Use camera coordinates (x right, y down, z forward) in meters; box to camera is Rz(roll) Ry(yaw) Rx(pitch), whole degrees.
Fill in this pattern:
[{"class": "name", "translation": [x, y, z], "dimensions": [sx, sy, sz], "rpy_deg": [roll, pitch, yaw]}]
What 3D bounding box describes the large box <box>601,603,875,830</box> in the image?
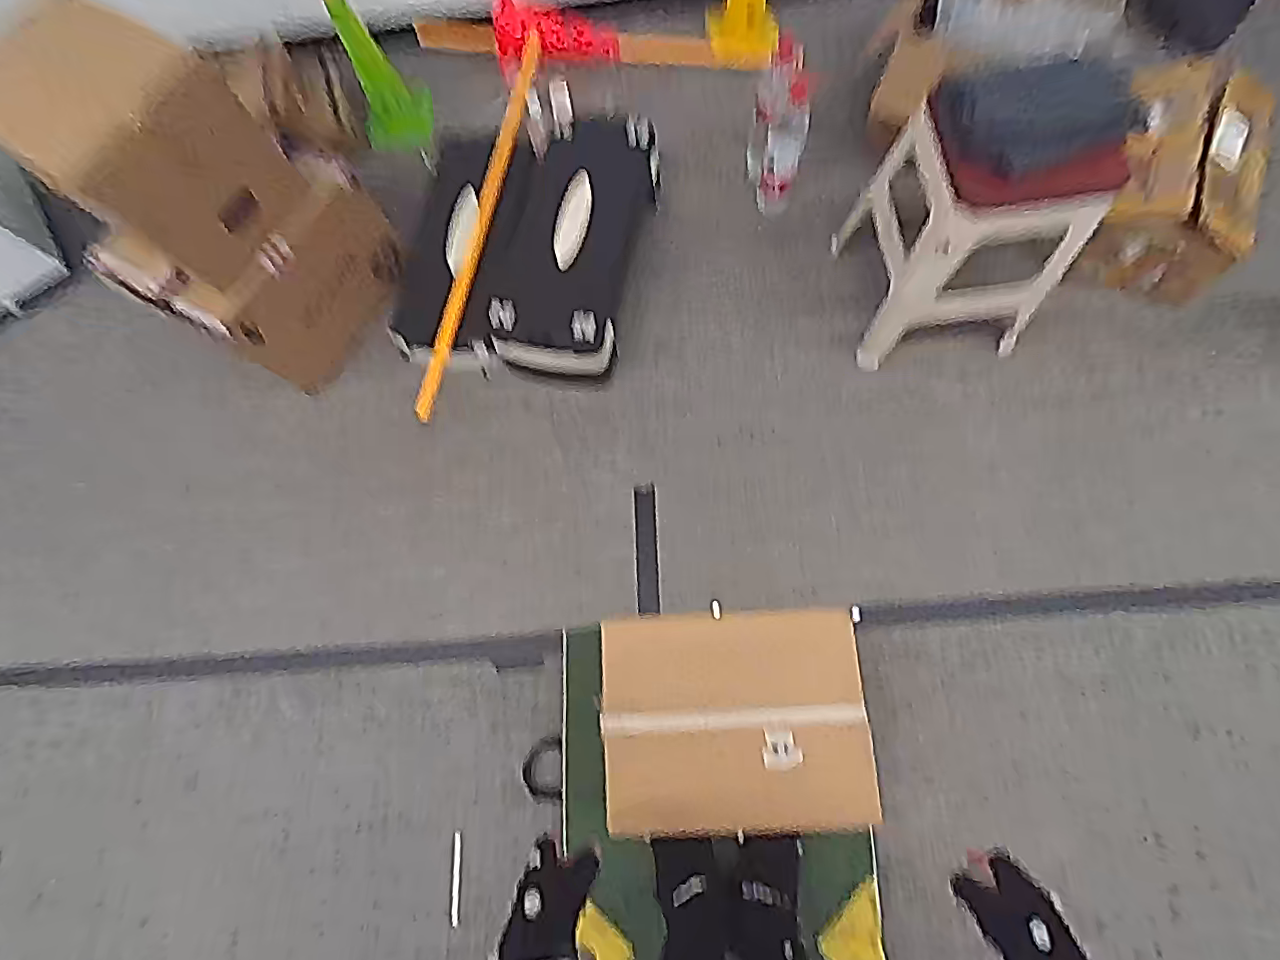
[{"class": "large box", "translation": [0.150, 0.406, 0.991], "dimensions": [0.408, 0.320, 0.320], "rpy_deg": [-4, 75, 2]}]
